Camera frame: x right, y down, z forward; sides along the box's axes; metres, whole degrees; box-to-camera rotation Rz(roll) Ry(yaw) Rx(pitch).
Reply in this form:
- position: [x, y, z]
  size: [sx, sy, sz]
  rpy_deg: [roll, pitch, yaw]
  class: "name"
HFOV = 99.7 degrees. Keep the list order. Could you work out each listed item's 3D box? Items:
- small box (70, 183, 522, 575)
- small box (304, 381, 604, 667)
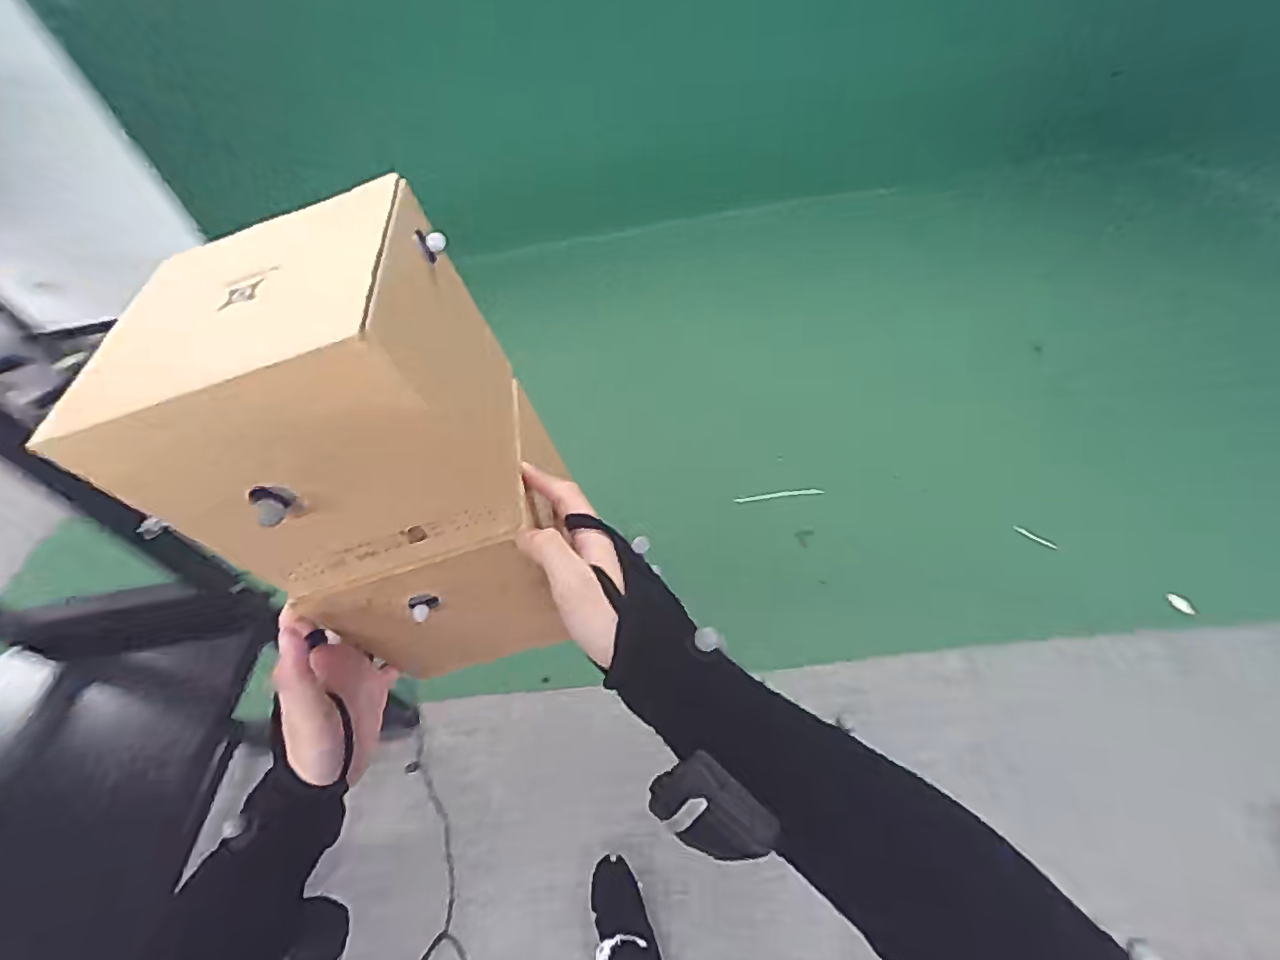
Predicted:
- position: [-0.188, -0.054, 0.362]
  size: [0.168, 0.176, 0.179]
  rpy_deg: [-17, 50, 5]
  class: "small box"
- position: [-0.146, 0.047, 0.482]
  size: [0.179, 0.176, 0.168]
  rpy_deg: [-16, 51, 4]
  class: "small box"
